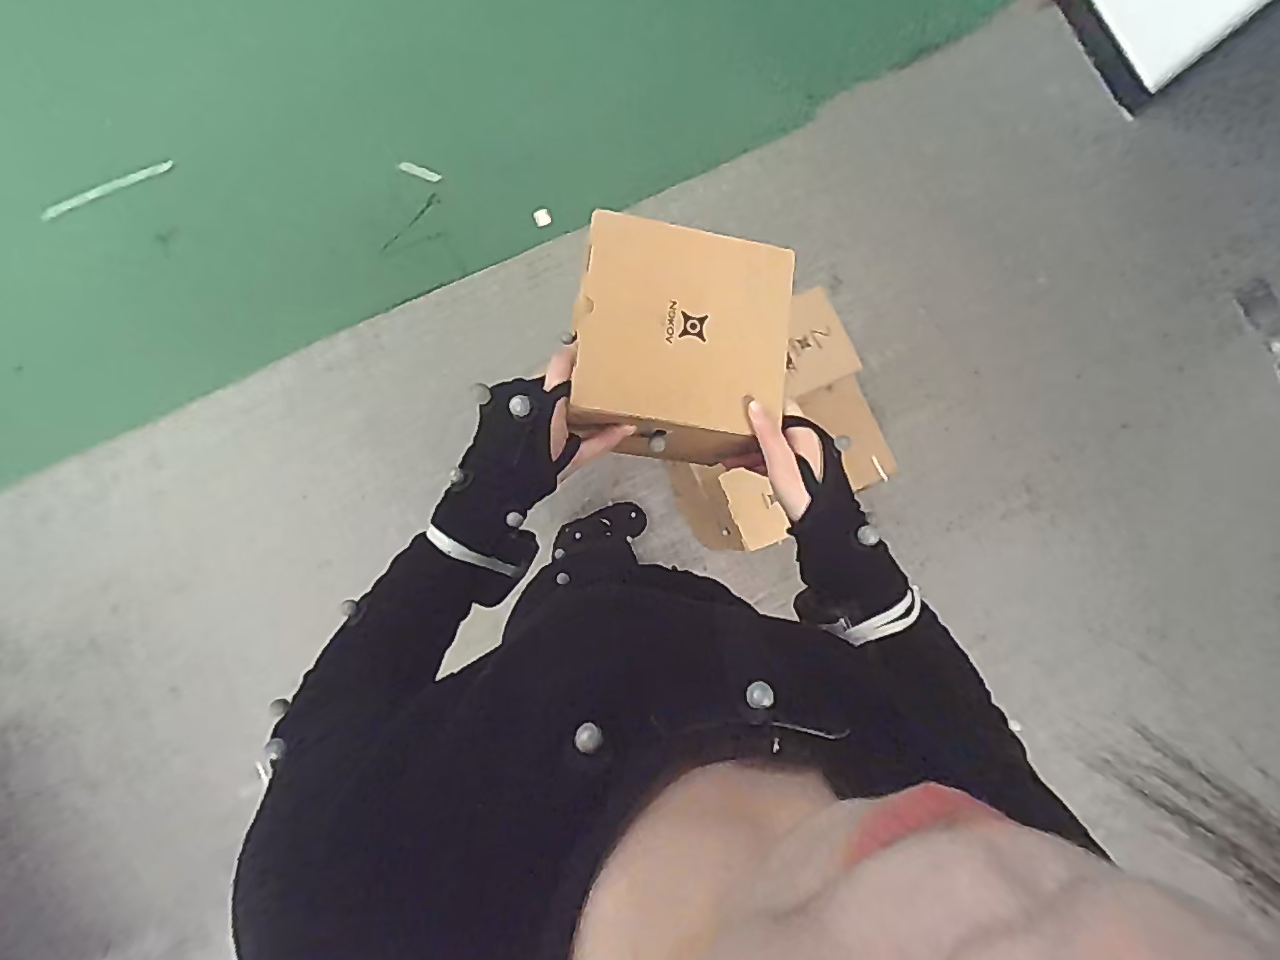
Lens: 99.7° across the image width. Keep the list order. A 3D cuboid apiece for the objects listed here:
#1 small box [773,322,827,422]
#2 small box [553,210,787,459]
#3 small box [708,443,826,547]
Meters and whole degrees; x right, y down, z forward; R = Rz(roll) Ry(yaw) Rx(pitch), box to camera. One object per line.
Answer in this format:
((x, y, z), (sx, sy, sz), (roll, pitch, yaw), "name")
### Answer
((0.264, -0.212, 1.165), (0.179, 0.176, 0.168), (-20, 86, -7), "small box")
((0.017, -0.116, 0.510), (0.179, 0.176, 0.168), (7, 84, -10), "small box")
((0.255, 0.035, 1.141), (0.179, 0.176, 0.168), (-20, 88, -7), "small box")
